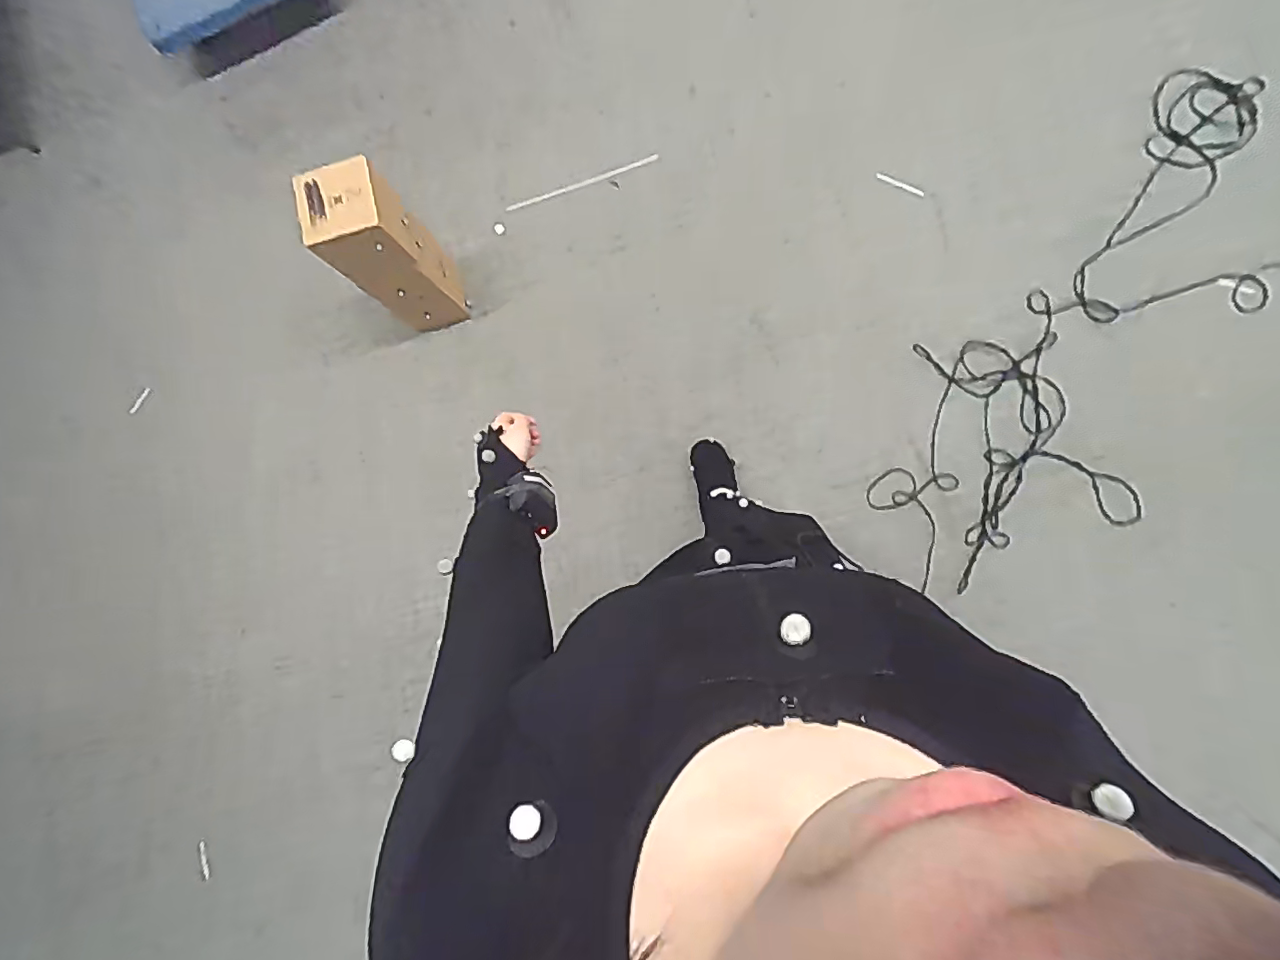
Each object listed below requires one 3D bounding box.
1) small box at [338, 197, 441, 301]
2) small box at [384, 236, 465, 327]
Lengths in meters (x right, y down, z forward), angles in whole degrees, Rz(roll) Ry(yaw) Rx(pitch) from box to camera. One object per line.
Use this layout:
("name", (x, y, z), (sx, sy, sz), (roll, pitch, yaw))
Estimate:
("small box", (-0.633, -0.578, 1.384), (0.168, 0.176, 0.179), (-14, 84, 4))
("small box", (-0.620, -0.562, 1.548), (0.179, 0.176, 0.168), (-15, 84, 6))
